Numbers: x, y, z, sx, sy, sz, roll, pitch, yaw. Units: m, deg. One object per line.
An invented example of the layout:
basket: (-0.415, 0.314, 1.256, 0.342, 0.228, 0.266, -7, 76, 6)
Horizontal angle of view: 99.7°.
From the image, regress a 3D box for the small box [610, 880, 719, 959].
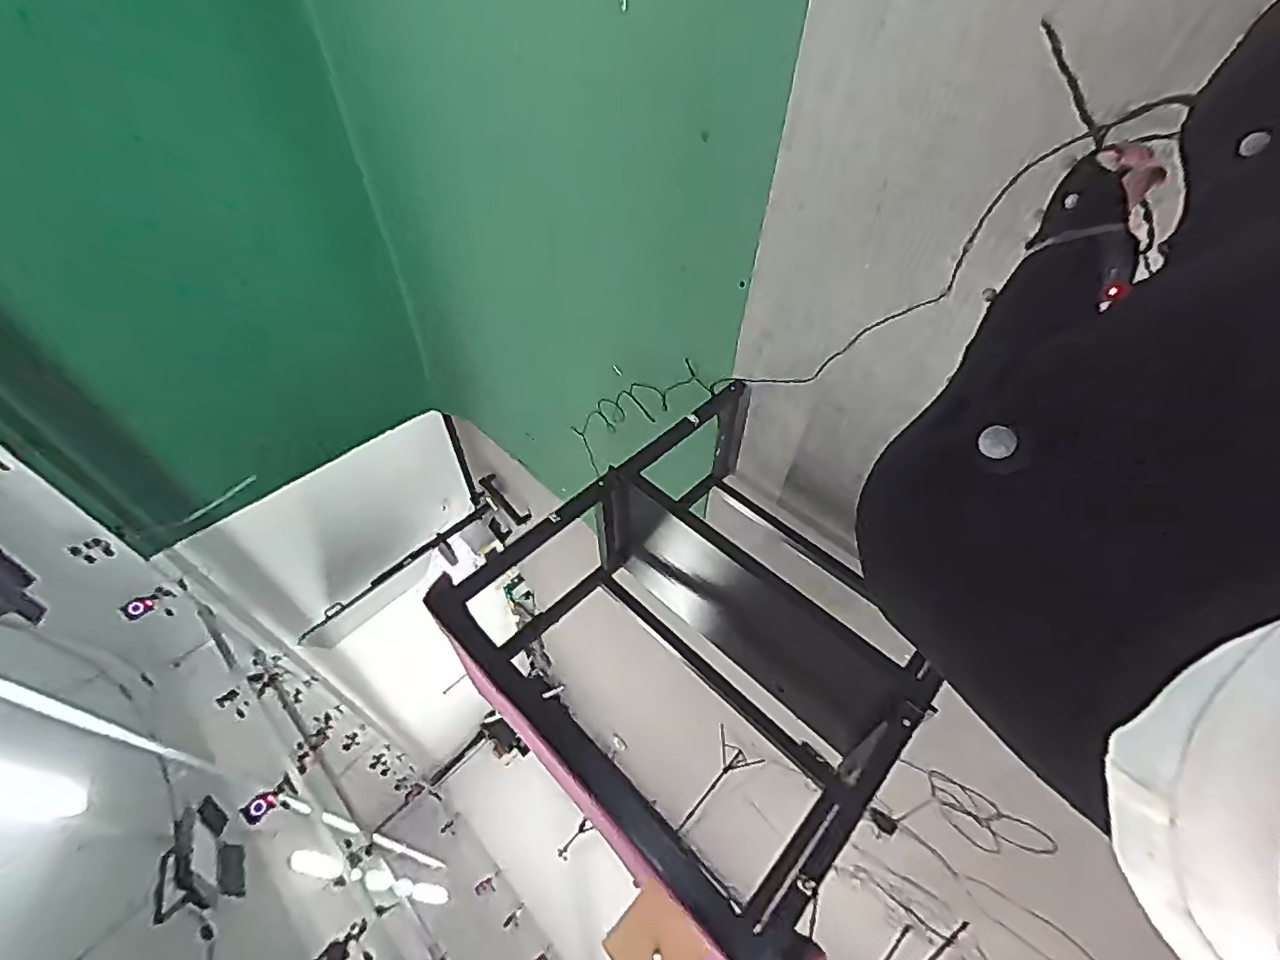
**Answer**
small box: (0.053, 1.033, 1.197, 0.179, 0.176, 0.168, 37, 148, 25)
